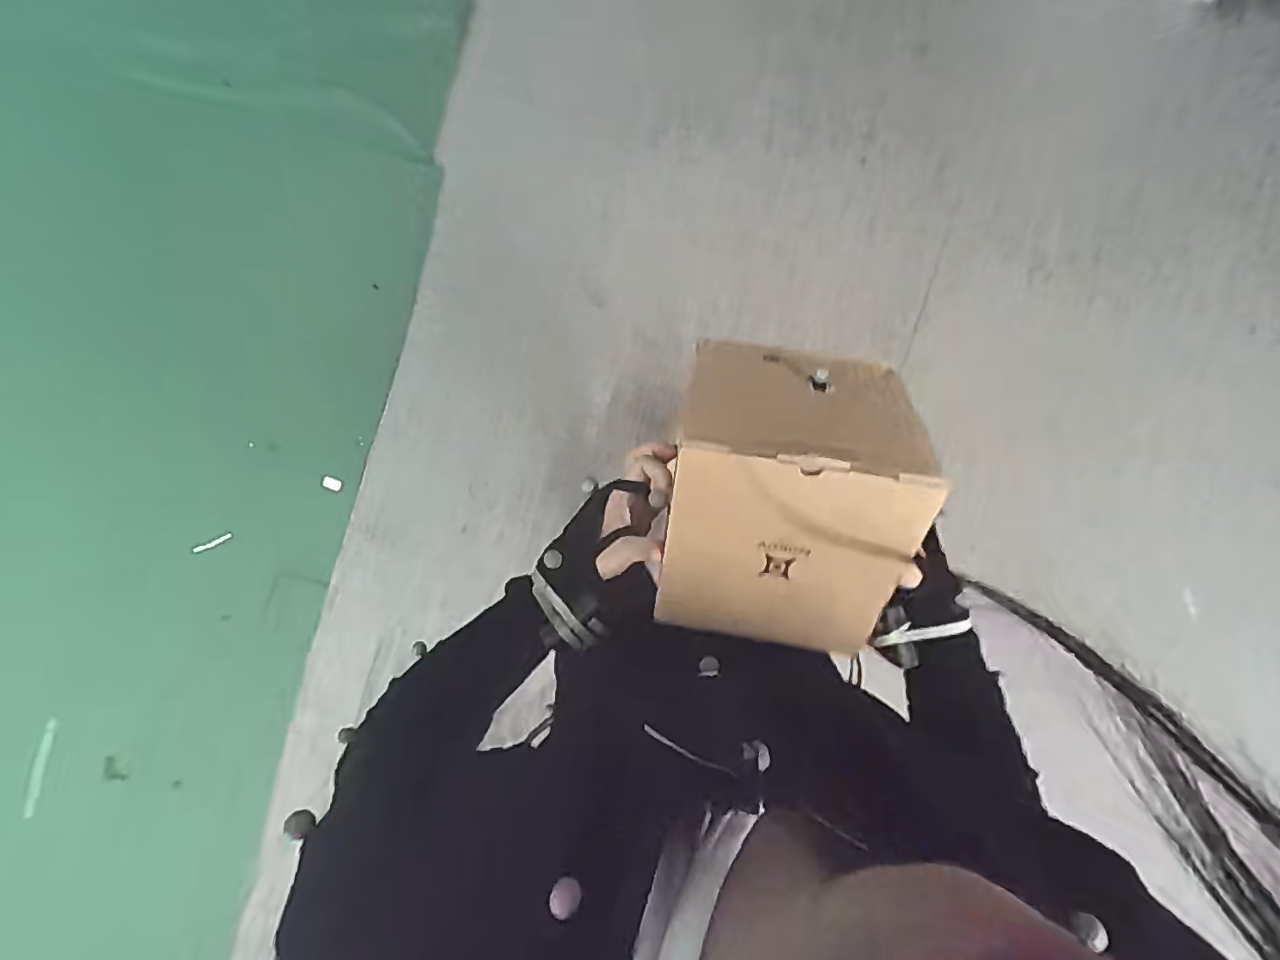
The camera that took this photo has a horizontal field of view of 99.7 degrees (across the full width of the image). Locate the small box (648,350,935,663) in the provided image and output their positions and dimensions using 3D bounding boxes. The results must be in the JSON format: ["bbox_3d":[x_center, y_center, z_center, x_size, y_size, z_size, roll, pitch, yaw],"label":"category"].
[{"bbox_3d":[0.106,0.016,0.445,0.168,0.176,0.179,9,127,5],"label":"small box"}]

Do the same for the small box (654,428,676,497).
[{"bbox_3d":[0.140,-0.027,1.399,0.168,0.176,0.179,18,93,-1],"label":"small box"}]
